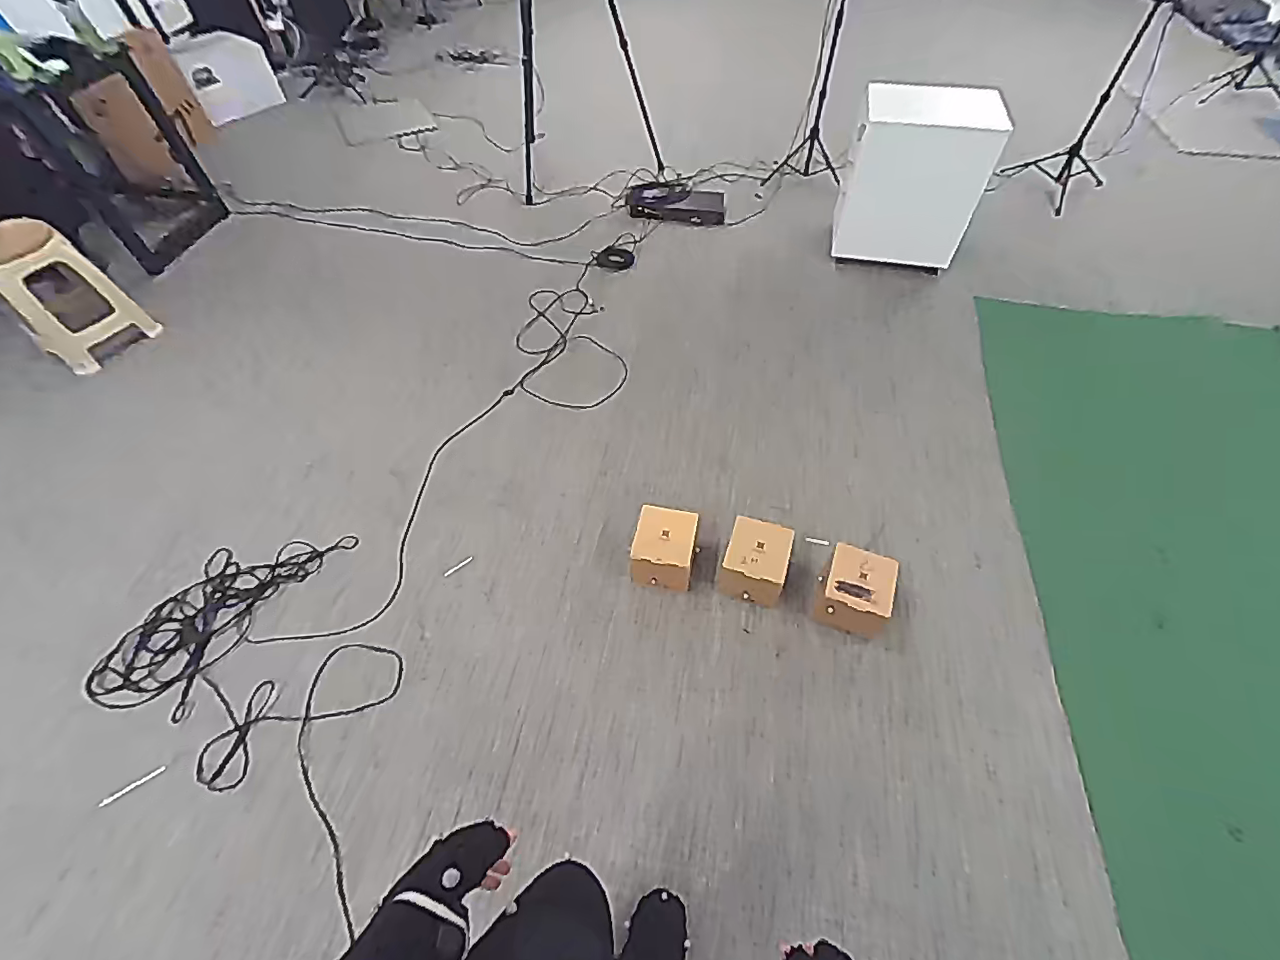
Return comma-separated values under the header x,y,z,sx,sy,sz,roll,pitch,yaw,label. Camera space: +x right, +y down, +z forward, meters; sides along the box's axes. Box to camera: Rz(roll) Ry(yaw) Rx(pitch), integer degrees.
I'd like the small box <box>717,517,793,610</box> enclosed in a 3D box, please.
x,y,z,sx,sy,sz,roll,pitch,yaw,label
0.320,0.238,1.527,0.168,0.176,0.179,15,56,13,small box

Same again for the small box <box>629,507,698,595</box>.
x,y,z,sx,sy,sz,roll,pitch,yaw,label
0.068,0.206,1.560,0.168,0.176,0.179,9,54,9,small box
